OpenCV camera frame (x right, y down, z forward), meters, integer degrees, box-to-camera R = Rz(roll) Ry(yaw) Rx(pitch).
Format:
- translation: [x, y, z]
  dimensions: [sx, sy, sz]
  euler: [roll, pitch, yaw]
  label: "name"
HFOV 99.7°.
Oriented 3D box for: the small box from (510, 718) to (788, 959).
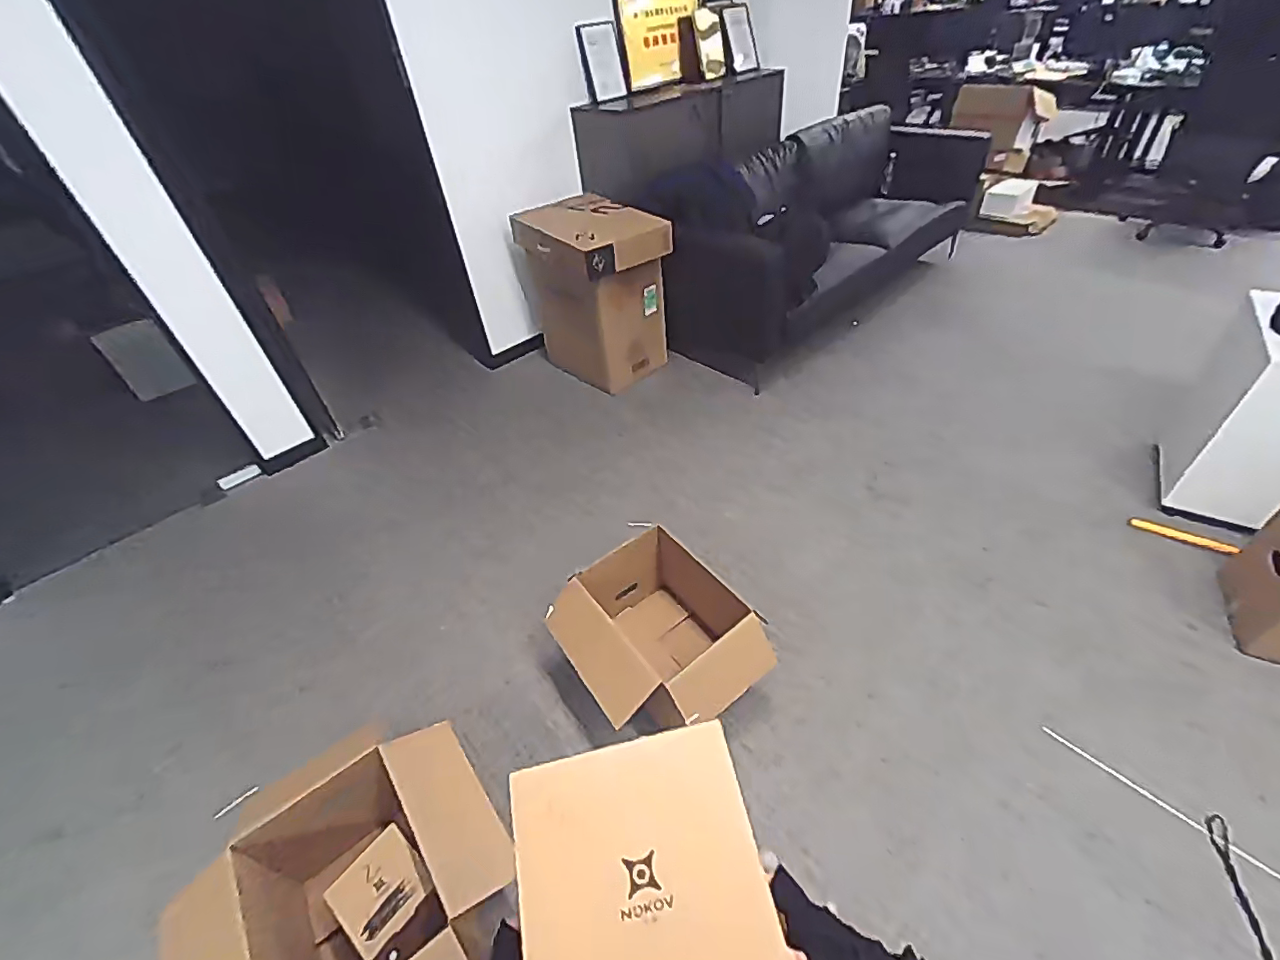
- translation: [0.000, 0.316, 0.428]
  dimensions: [0.168, 0.176, 0.179]
  euler: [-11, 55, -8]
  label: "small box"
